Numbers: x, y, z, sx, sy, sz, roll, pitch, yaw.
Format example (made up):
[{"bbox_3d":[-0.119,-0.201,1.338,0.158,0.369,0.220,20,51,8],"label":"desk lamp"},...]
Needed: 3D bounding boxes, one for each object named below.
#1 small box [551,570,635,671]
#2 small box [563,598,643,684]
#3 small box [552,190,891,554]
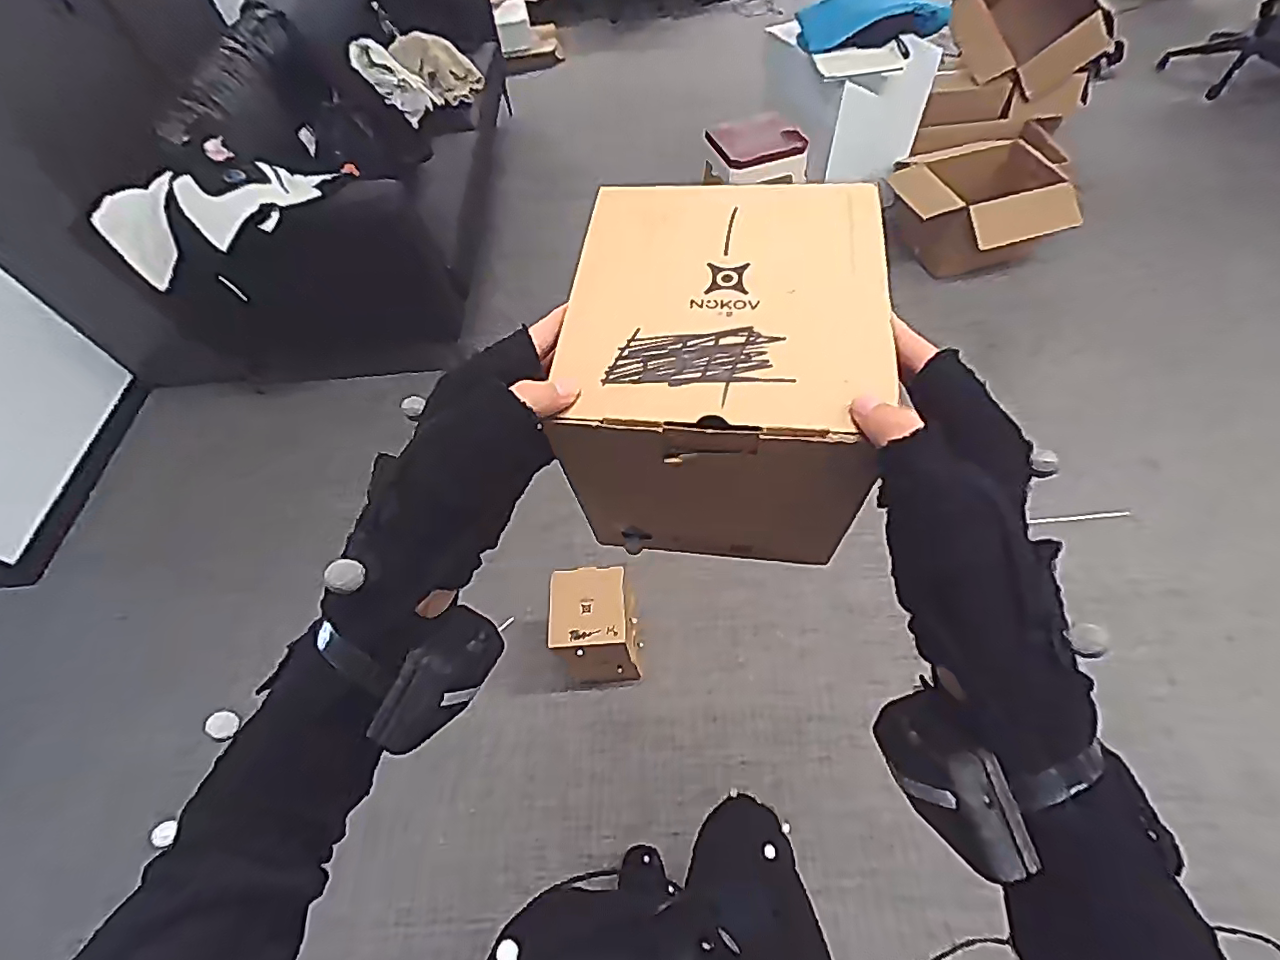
[{"bbox_3d":[-0.101,0.323,1.235,0.168,0.176,0.179,-5,55,3],"label":"small box"},{"bbox_3d":[-0.088,0.413,1.372,0.179,0.176,0.168,-4,56,3],"label":"small box"},{"bbox_3d":[0.056,-0.062,0.364,0.168,0.176,0.179,4,61,9],"label":"small box"}]
